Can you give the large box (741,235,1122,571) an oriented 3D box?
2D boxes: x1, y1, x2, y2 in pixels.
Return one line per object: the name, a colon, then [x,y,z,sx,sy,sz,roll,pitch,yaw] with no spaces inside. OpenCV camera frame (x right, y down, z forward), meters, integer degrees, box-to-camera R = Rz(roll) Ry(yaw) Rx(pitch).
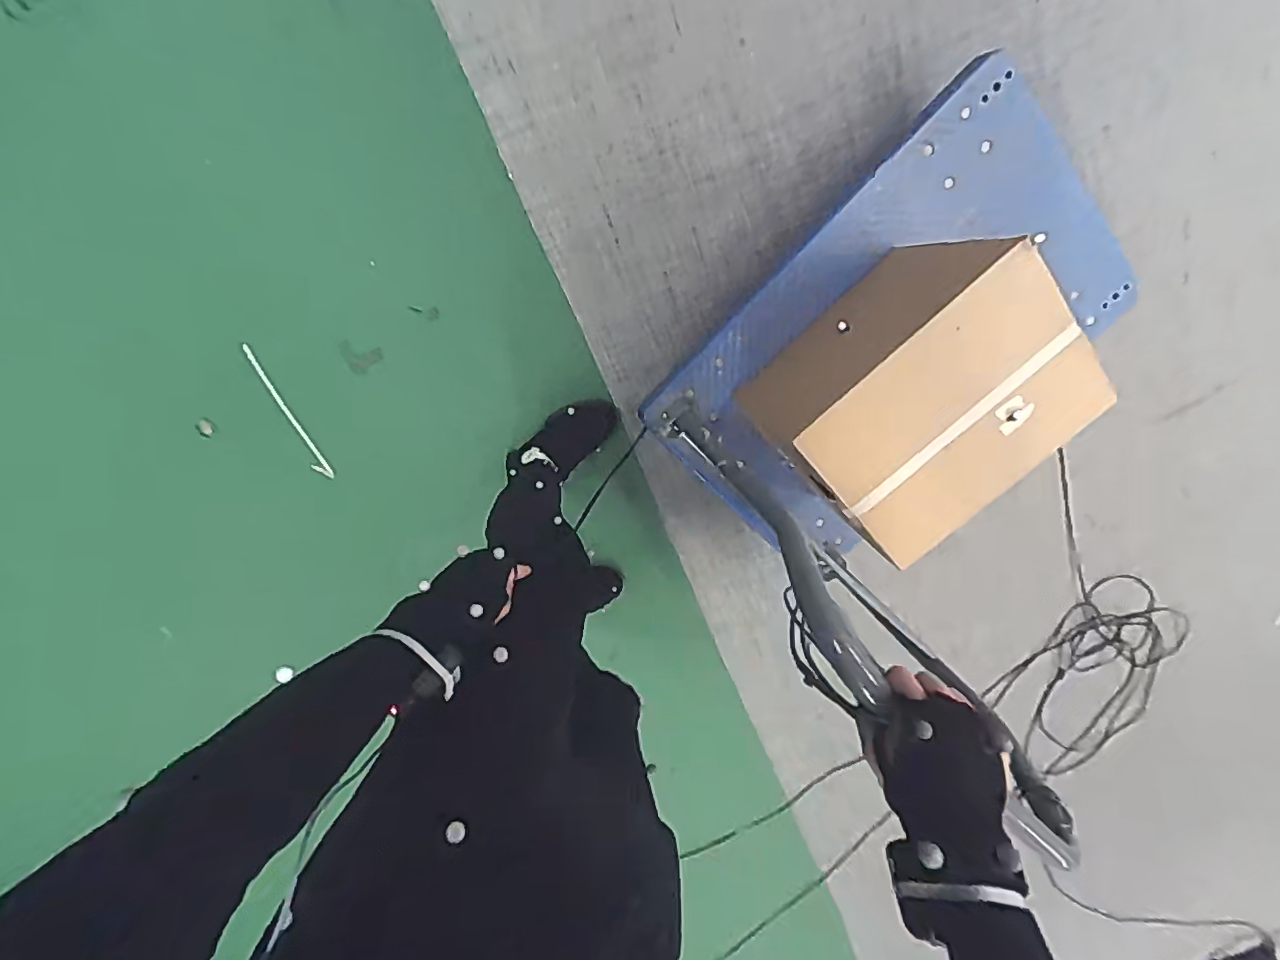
large box: [0.448,-0.134,0.914,0.408,0.320,0.320,-42,111,8]
